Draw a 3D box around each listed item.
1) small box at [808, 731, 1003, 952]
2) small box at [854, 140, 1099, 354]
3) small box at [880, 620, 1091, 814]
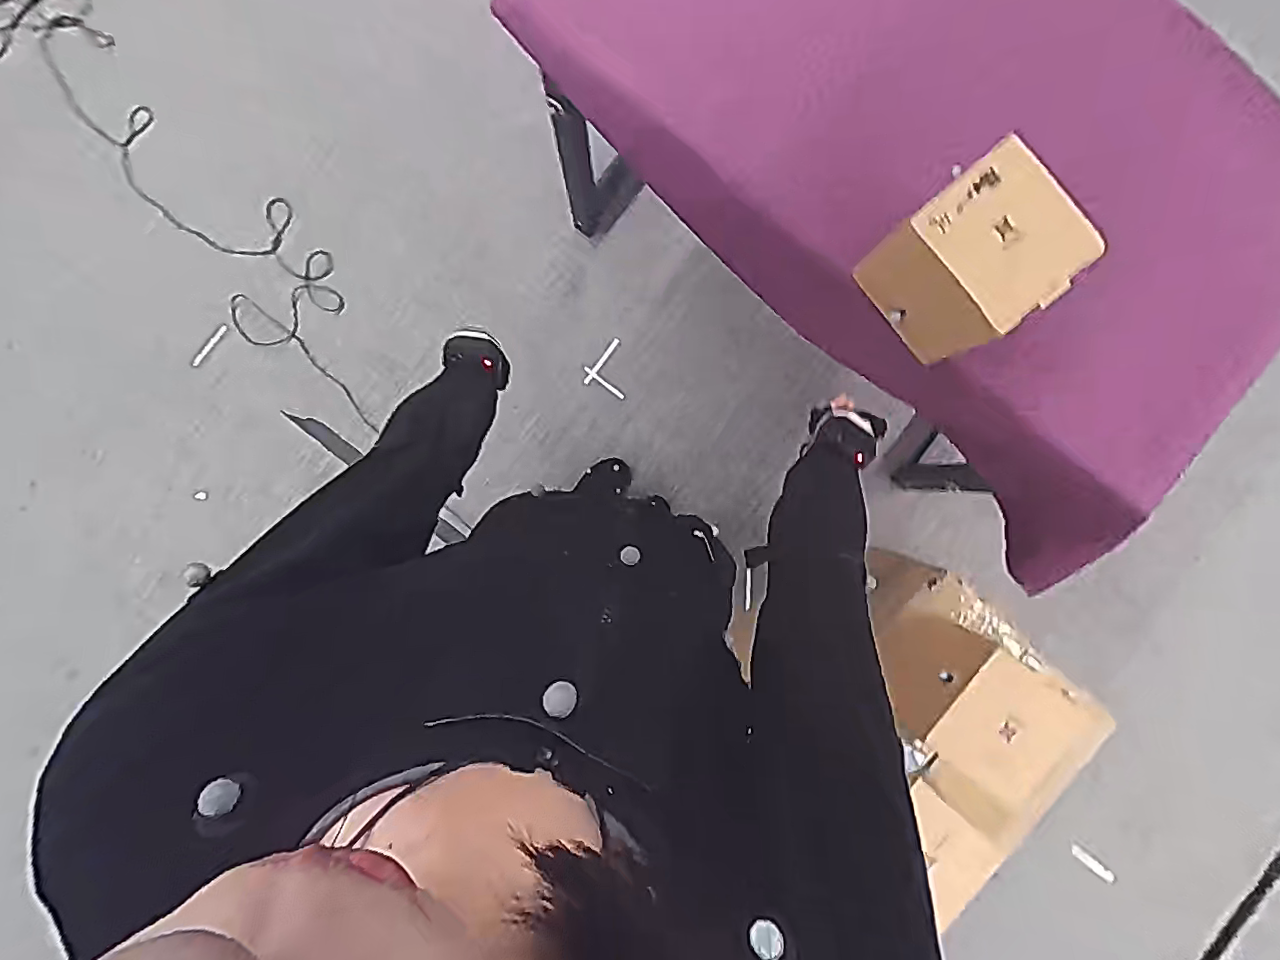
[{"bbox_3d":[0.378,0.526,0.814,0.168,0.176,0.179,42,87,0],"label":"small box"},{"bbox_3d":[0.426,-0.285,0.714,0.168,0.176,0.179,-39,92,-2],"label":"small box"},{"bbox_3d":[0.504,0.341,0.819,0.168,0.176,0.179,39,91,1],"label":"small box"}]
